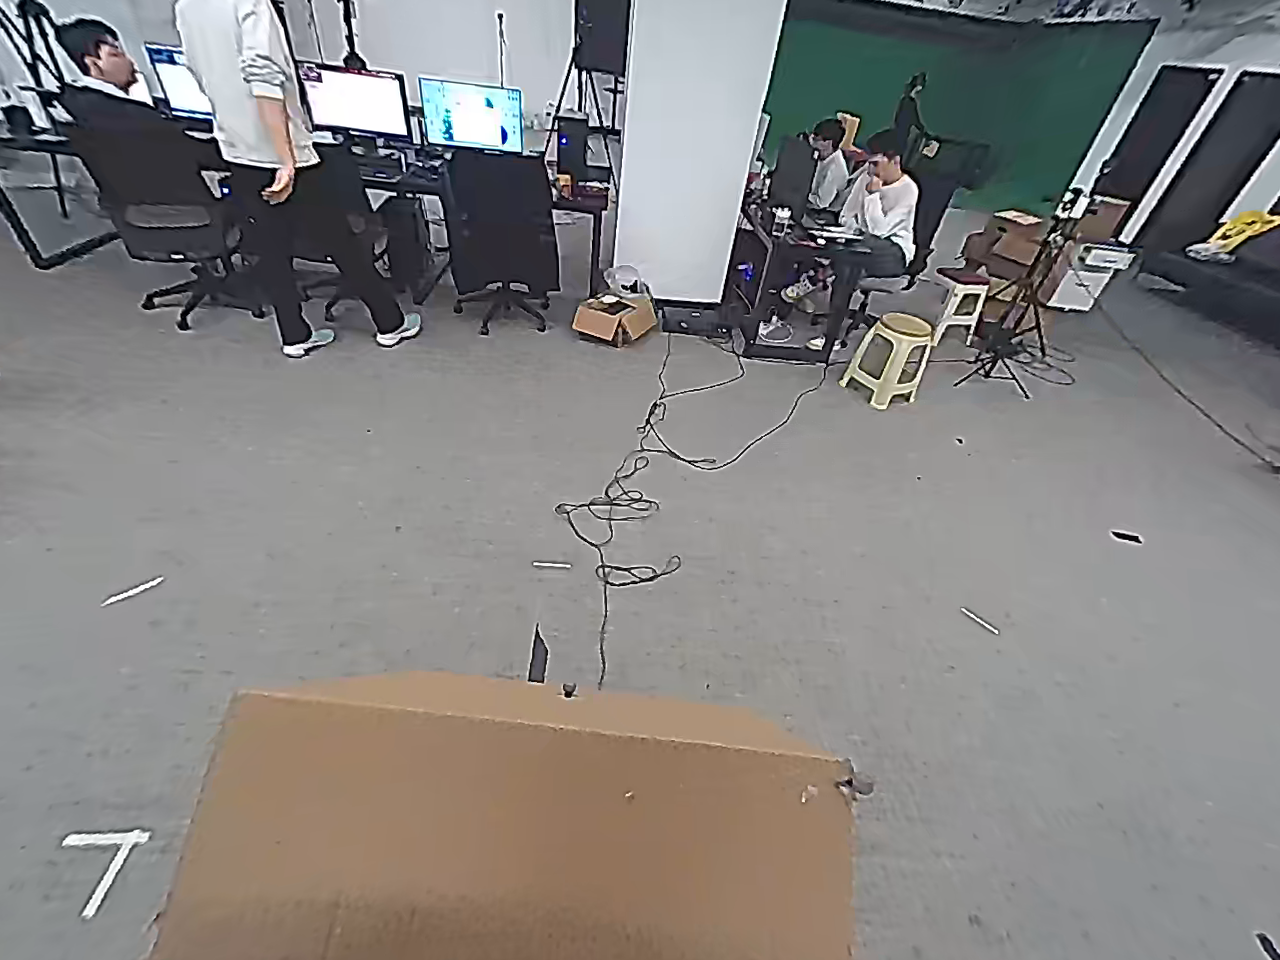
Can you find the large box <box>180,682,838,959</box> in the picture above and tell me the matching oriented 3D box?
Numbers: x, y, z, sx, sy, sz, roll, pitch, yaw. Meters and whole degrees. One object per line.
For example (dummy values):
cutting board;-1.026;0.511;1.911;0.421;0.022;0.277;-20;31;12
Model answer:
large box;-0.085;0.356;0.462;0.408;0.320;0.320;6;74;0
